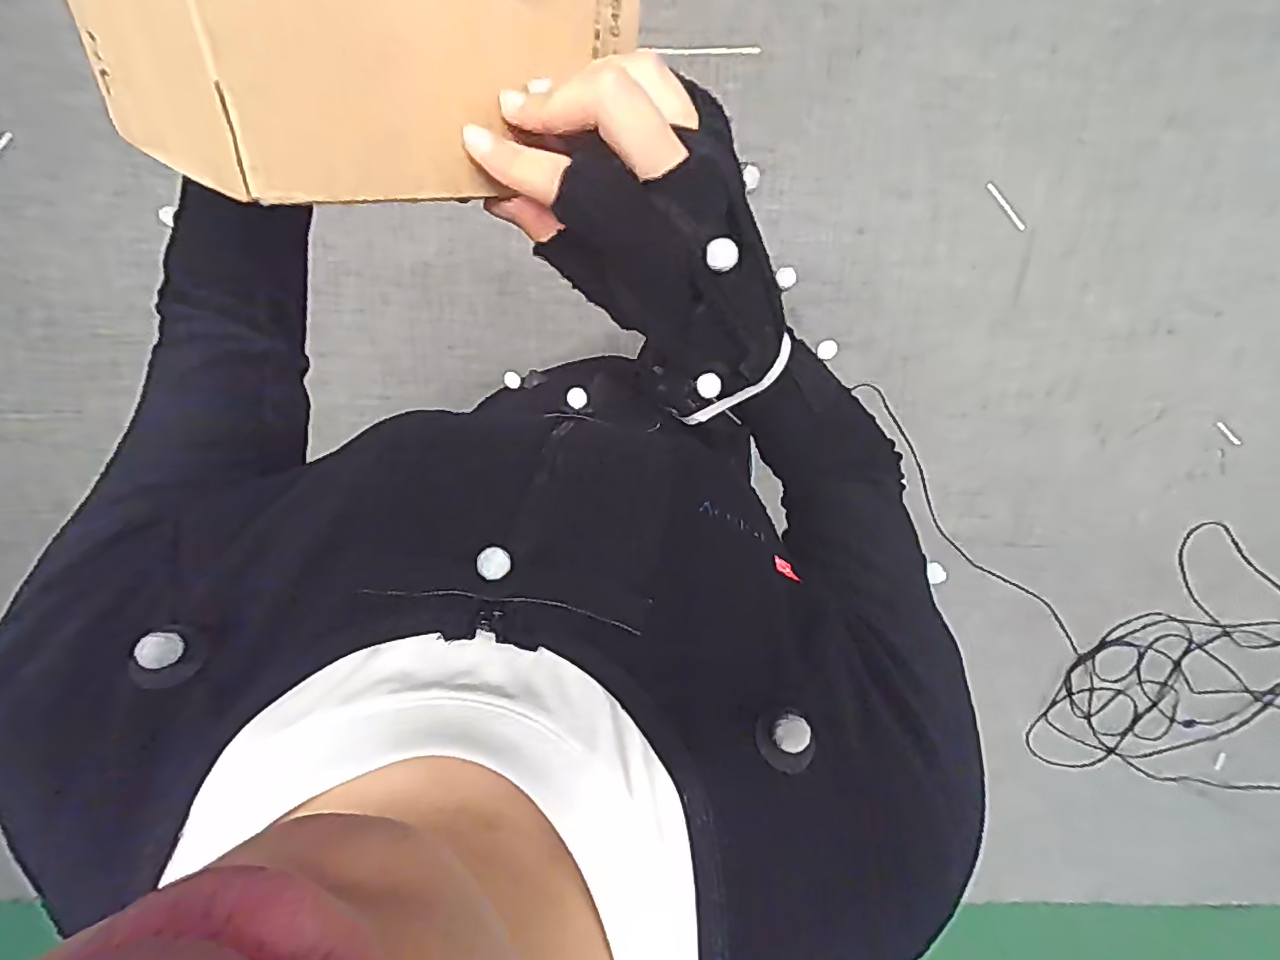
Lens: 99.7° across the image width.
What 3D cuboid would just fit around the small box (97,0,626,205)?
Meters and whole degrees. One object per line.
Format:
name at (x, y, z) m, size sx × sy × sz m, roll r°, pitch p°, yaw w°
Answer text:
small box at (-0.114, -0.225, 0.227) m, size 0.179 × 0.176 × 0.168 m, roll 32°, pitch 131°, yaw 31°
